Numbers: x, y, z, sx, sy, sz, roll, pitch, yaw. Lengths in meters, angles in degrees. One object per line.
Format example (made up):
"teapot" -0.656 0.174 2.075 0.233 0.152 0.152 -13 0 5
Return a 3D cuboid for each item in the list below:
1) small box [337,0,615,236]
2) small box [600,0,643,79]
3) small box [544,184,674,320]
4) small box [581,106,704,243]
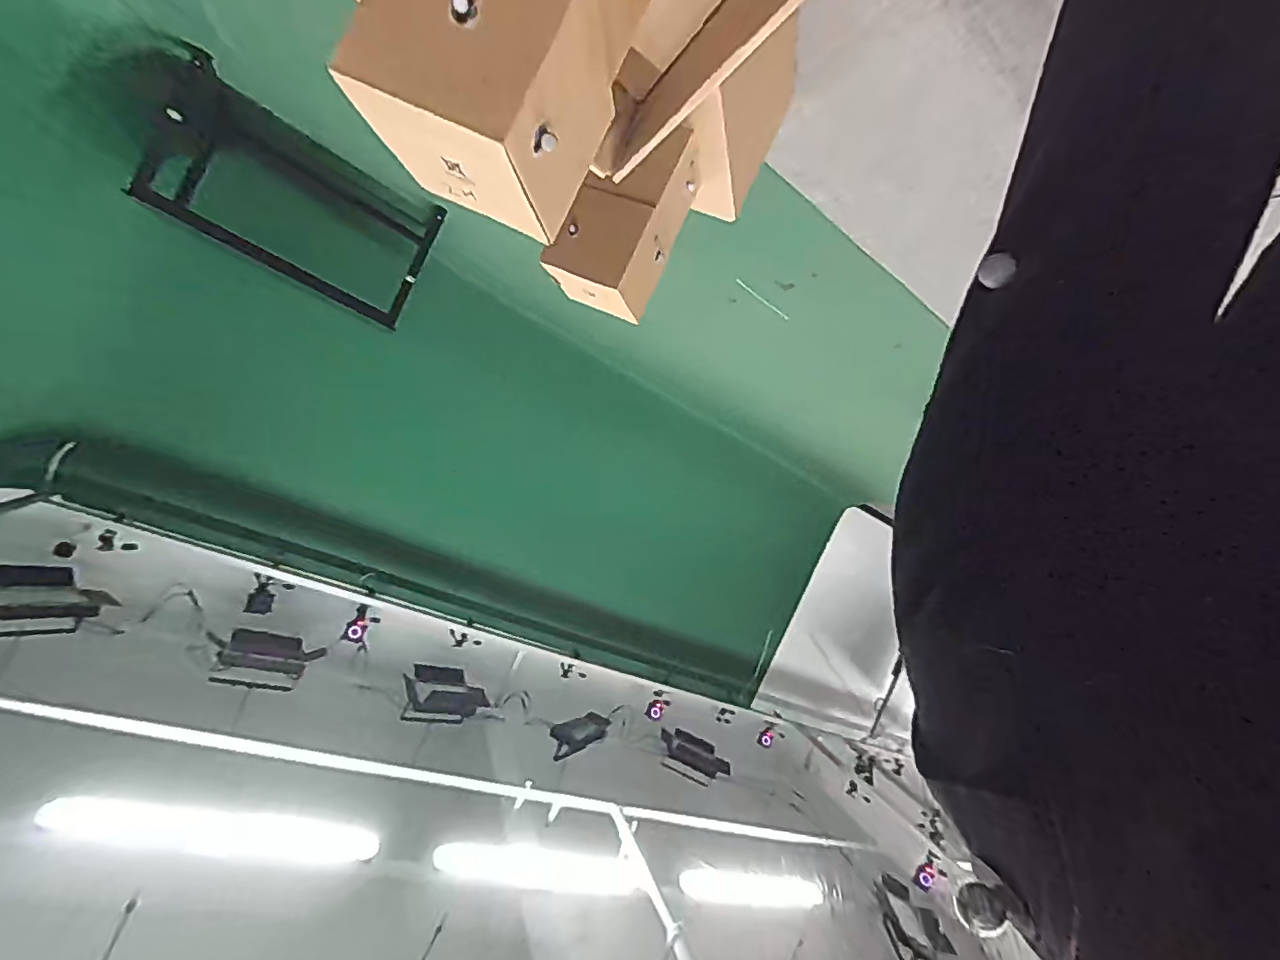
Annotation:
"small box" -0.137 -0.379 0.519 0.168 0.176 0.179 26 180 4
"small box" -0.076 -0.533 0.496 0.168 0.176 0.179 23 180 6
"small box" -0.055 -0.450 1.070 0.179 0.176 0.168 25 180 15
"small box" 0.010 -0.599 1.078 0.179 0.176 0.168 25 180 12
